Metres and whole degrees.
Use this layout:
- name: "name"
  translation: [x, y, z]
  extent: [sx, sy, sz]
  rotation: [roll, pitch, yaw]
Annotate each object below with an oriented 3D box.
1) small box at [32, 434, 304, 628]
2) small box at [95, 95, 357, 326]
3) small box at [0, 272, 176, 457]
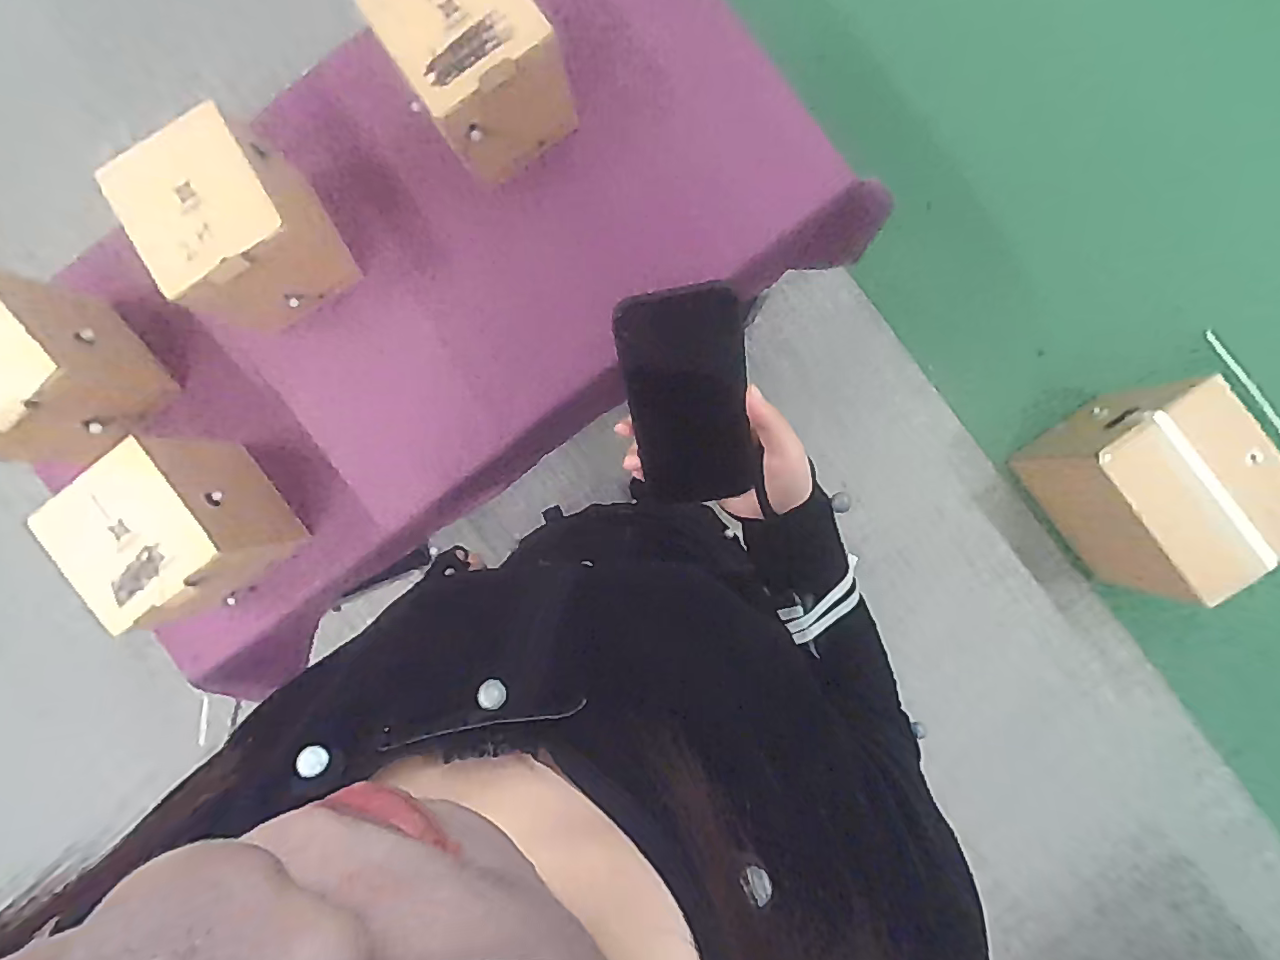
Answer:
- name: "small box"
  translation: [-0.597, 0.058, 0.711]
  extent: [0.168, 0.176, 0.179]
  rotation: [-38, 88, 2]
- name: "small box"
  translation: [-0.515, -0.330, 0.700]
  extent: [0.168, 0.176, 0.179]
  rotation: [-30, 90, 3]
- name: "small box"
  translation: [-0.786, -0.147, 0.714]
  extent: [0.168, 0.176, 0.179]
  rotation: [-41, 91, 2]
